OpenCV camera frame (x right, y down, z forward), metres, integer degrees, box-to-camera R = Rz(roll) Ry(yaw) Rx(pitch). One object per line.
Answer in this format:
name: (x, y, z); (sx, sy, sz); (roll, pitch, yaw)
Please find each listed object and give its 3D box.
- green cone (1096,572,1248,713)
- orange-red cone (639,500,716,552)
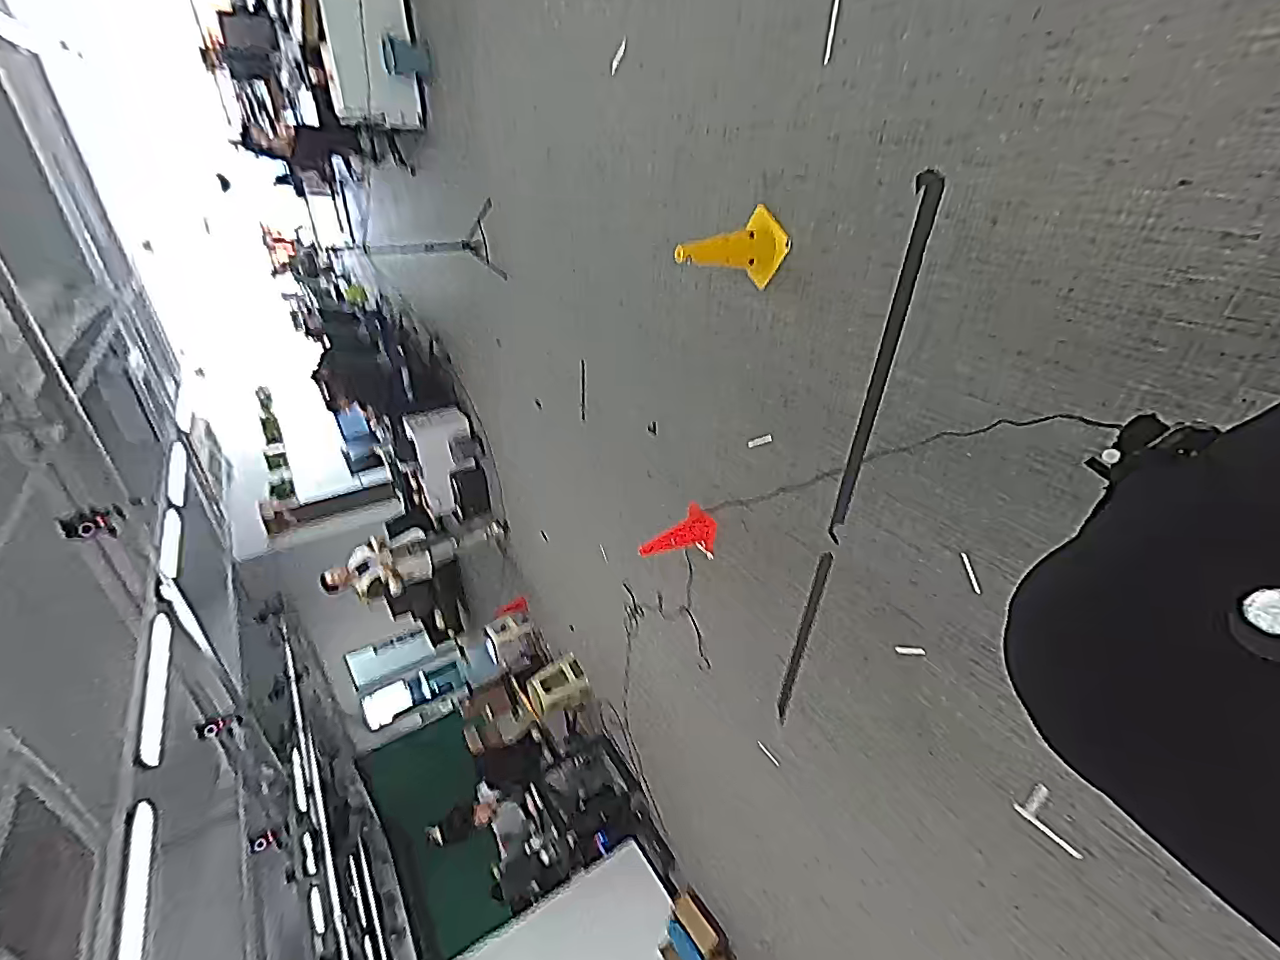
green cone: (1.028, 0.364, 1.104); (0.200, 0.368, 0.202); (22, 125, 55)
orange-red cone: (0.152, 0.260, 2.543); (0.198, 0.360, 0.199); (45, 140, 38)
